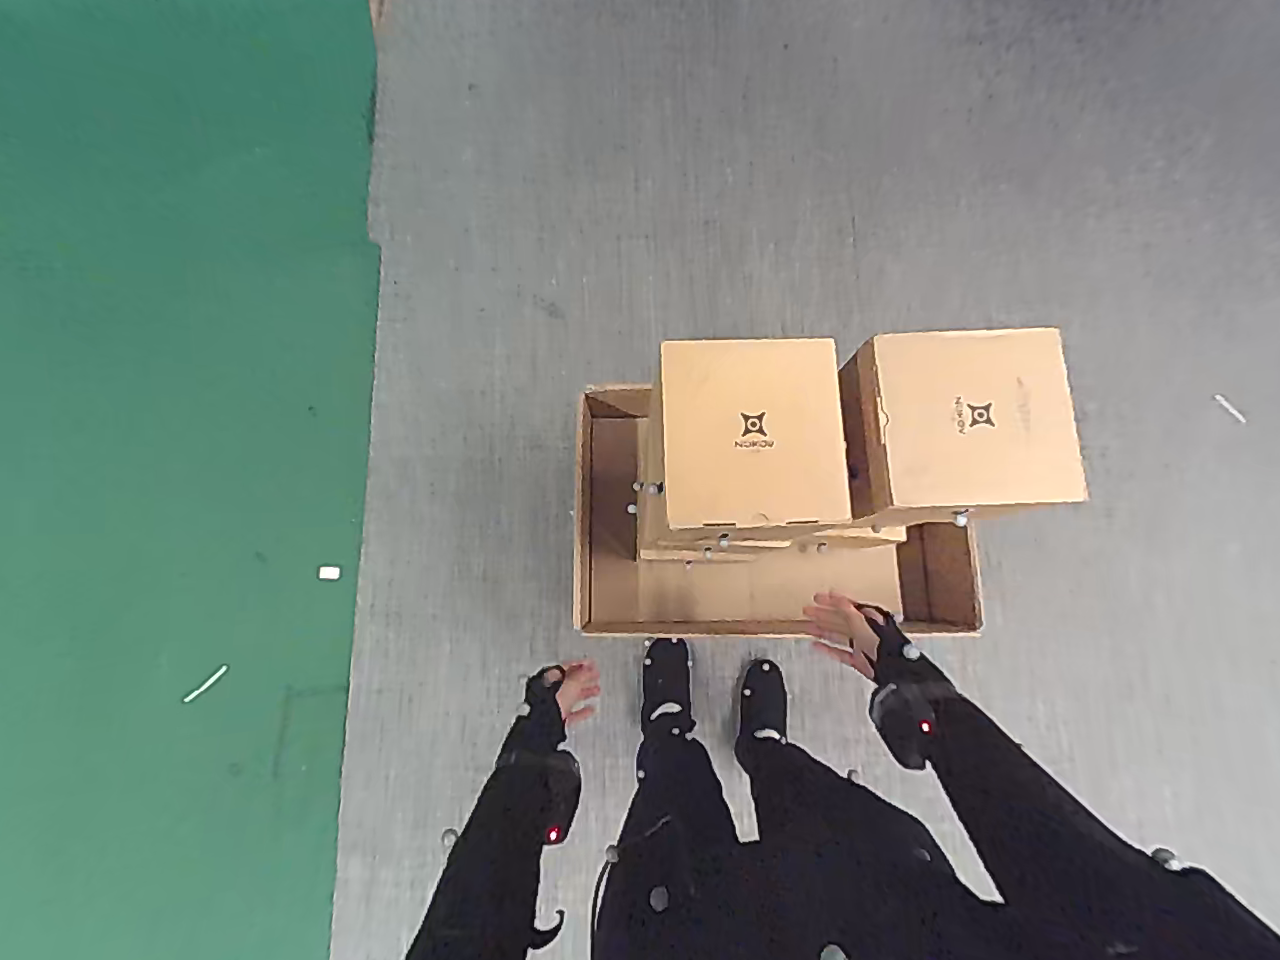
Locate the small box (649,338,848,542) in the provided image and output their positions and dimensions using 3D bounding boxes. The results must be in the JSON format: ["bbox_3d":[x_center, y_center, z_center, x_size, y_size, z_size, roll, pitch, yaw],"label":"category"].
[{"bbox_3d":[0.097,-0.031,0.566,0.168,0.176,0.179,-2,79,-2],"label":"small box"}]
